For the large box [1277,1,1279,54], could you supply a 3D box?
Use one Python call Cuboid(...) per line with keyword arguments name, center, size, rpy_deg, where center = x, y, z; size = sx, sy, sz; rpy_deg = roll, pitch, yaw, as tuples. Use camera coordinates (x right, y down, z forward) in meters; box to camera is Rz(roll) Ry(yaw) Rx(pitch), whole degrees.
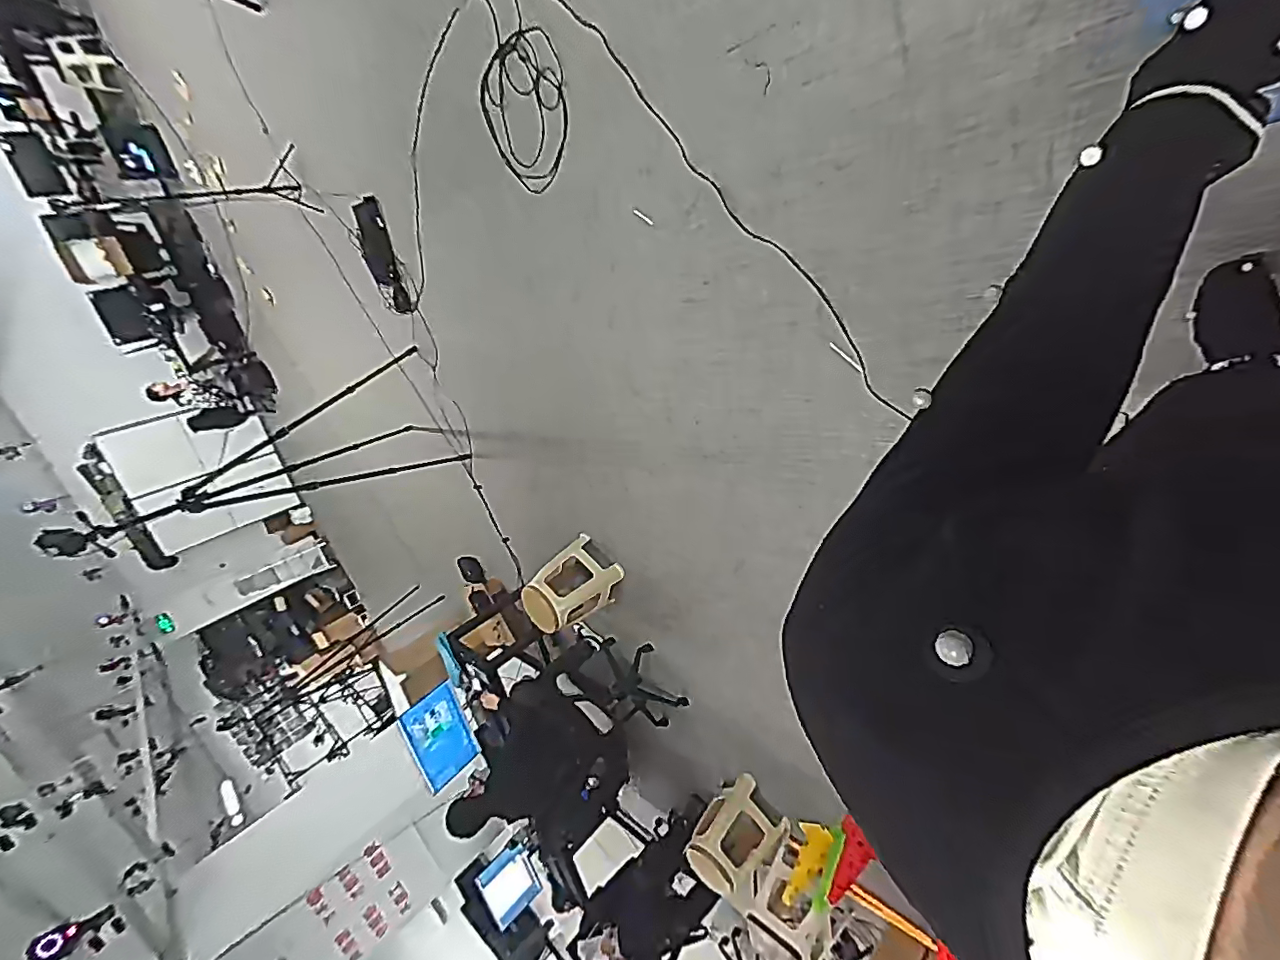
Cuboid(name="large box", center=(0.908, -0.750, 0.551), size=(0.320, 0.320, 0.408), rpy_deg=(4, 115, 45))
